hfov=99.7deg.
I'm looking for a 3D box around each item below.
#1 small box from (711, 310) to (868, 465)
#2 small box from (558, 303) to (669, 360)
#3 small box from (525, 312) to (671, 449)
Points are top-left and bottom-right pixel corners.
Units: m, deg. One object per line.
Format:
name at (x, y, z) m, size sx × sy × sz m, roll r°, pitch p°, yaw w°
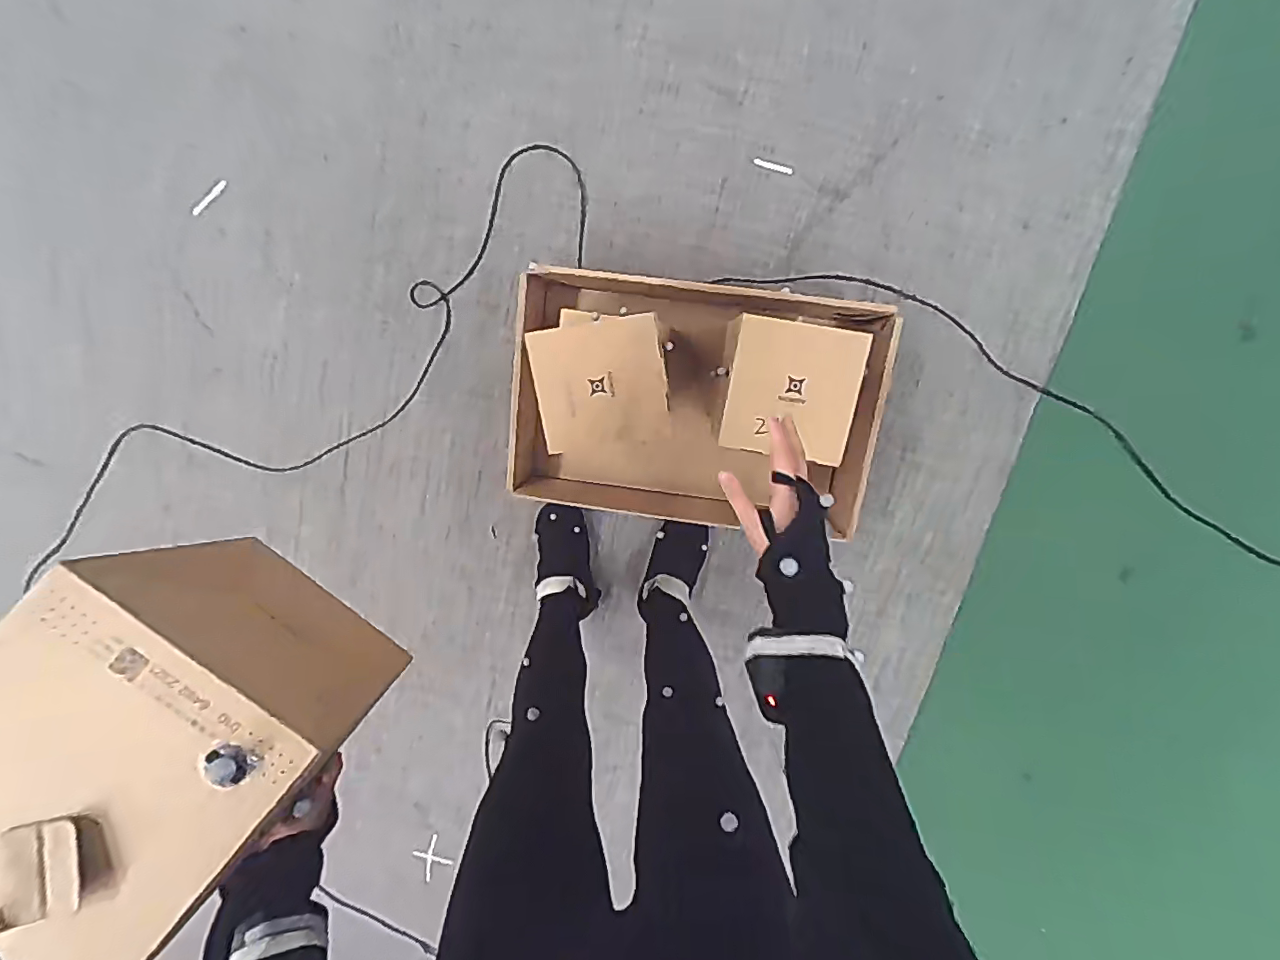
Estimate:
small box at (0.198, -0.135, 0.776) m, size 0.168 × 0.176 × 0.179 m, roll 11°, pitch 104°, yaw 2°
small box at (-0.048, -0.207, 0.946) m, size 0.179 × 0.176 × 0.168 m, roll 9°, pitch 105°, yaw 0°
small box at (-0.051, -0.150, 0.793) m, size 0.179 × 0.176 × 0.168 m, roll -7°, pitch 104°, yaw 5°
